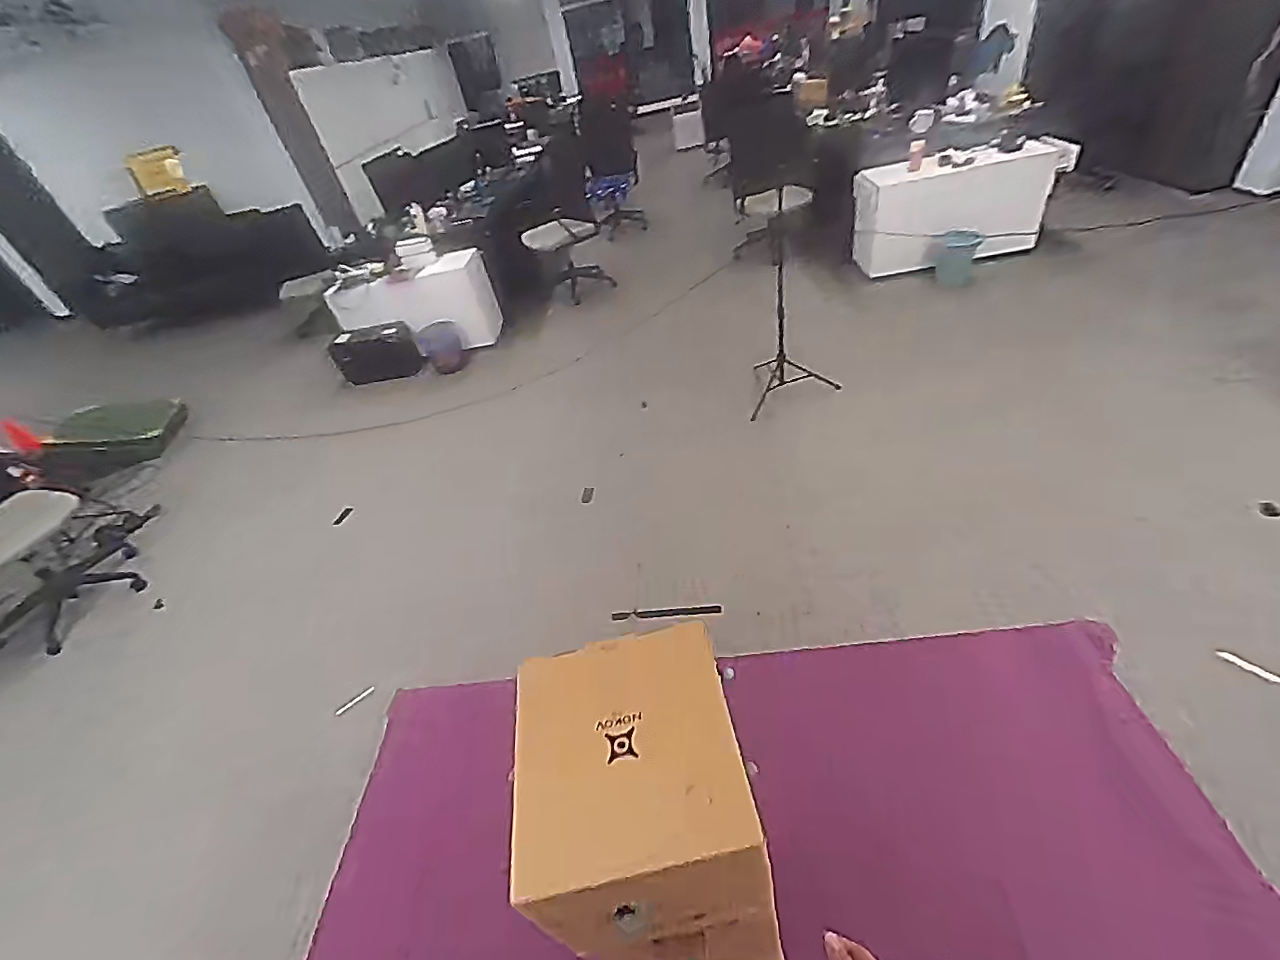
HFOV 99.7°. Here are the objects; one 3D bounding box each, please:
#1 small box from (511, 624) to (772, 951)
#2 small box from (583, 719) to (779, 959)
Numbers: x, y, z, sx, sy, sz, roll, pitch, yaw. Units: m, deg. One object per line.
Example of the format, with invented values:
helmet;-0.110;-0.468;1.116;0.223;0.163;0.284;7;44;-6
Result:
small box;0.004;0.255;0.446;0.168;0.176;0.179;-14;38;1
small box;0.037;0.376;0.550;0.168;0.176;0.179;-12;39;3
